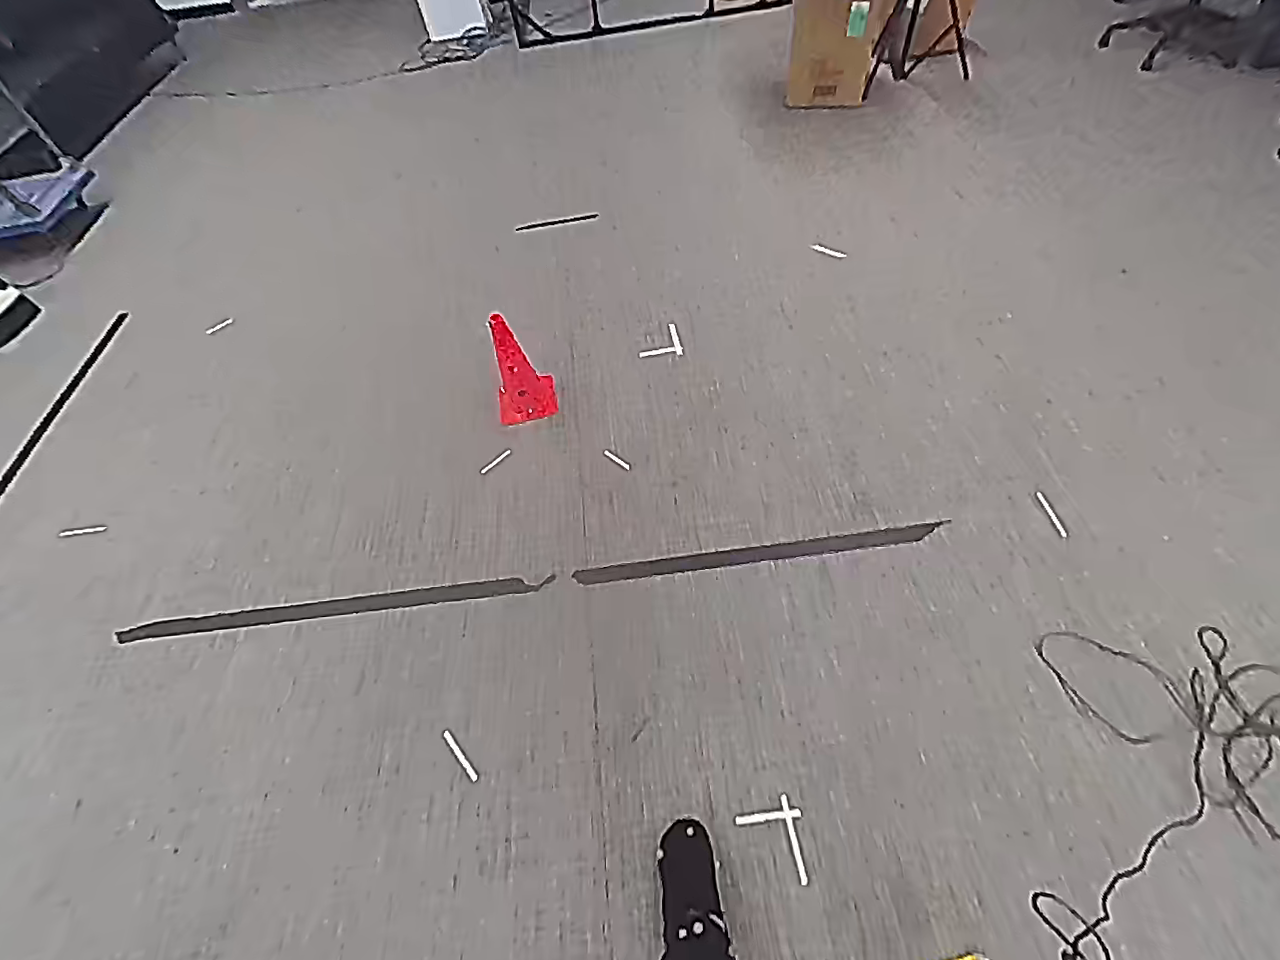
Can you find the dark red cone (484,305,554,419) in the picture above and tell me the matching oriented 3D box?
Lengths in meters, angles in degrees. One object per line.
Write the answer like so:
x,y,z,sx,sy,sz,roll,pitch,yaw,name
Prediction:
-0.420,-0.388,1.732,0.202,0.394,0.201,-14,55,-3,dark red cone
